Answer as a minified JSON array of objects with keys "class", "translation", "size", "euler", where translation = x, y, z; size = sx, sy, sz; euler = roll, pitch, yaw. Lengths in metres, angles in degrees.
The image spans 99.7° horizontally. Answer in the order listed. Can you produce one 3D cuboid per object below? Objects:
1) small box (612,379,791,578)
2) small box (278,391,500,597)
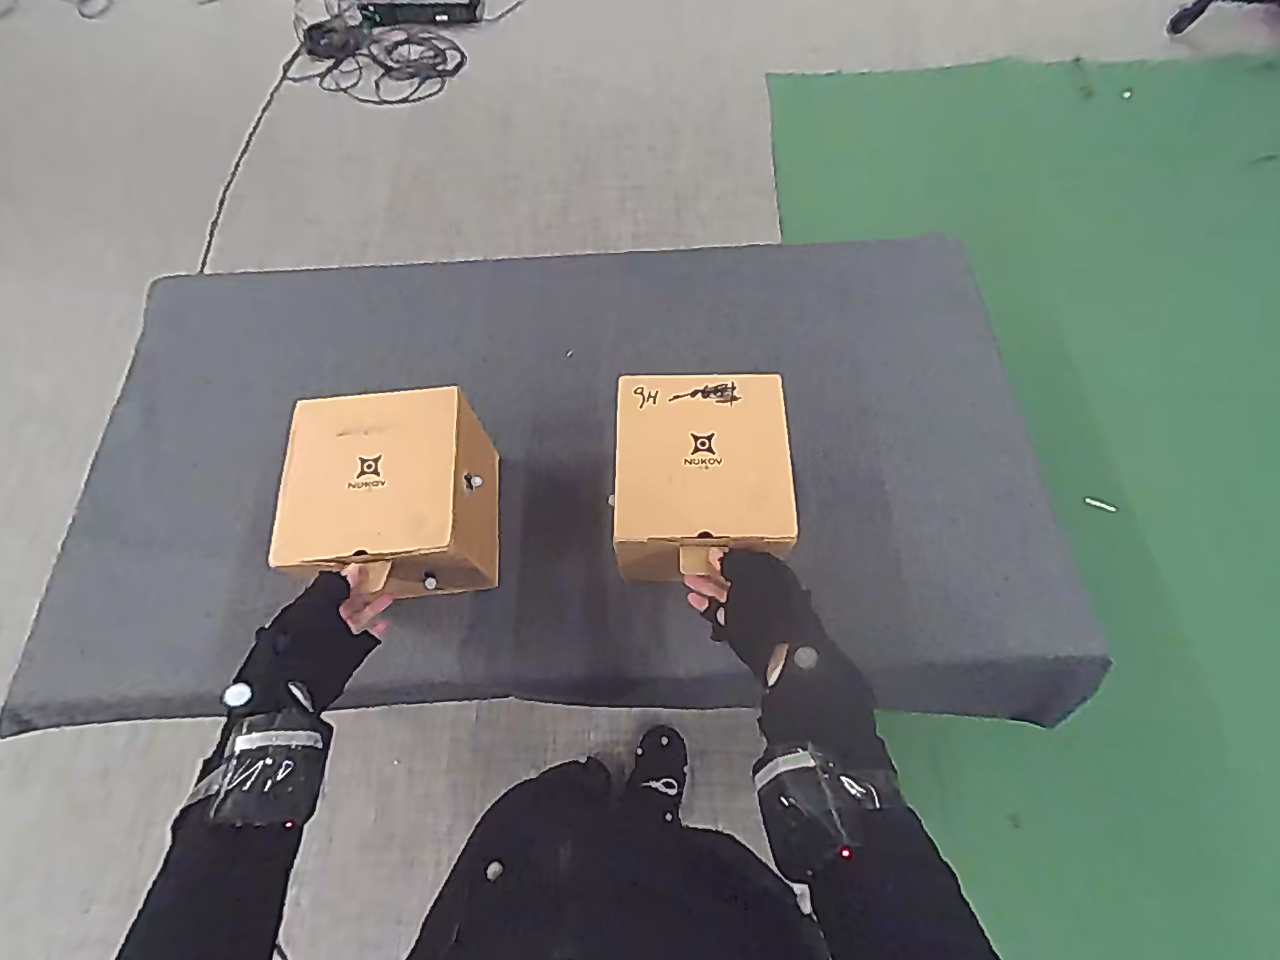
[{"class":"small box","translation":[0.061,0.008,0.596],"size":[0.168,0.176,0.179],"euler":[0,68,2]},{"class":"small box","translation":[-0.256,0.026,0.598],"size":[0.168,0.176,0.179],"euler":[-6,66,-2]}]
